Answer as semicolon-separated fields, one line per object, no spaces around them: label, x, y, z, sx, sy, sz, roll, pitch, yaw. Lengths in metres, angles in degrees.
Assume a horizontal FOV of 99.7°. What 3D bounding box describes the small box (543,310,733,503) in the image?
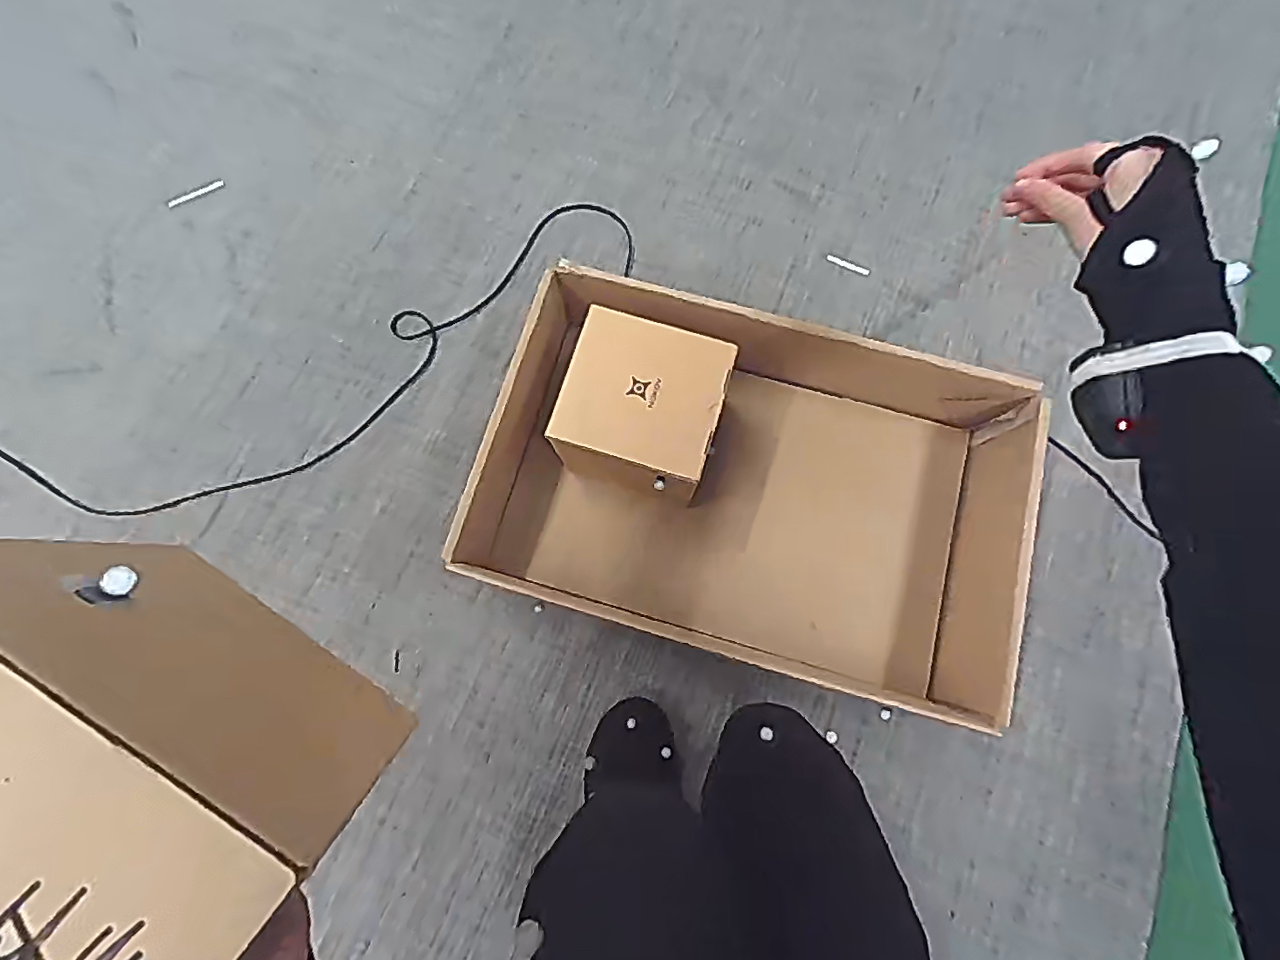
small box;-0.001;-0.079;0.673;0.179;0.176;0.168;17;79;3
